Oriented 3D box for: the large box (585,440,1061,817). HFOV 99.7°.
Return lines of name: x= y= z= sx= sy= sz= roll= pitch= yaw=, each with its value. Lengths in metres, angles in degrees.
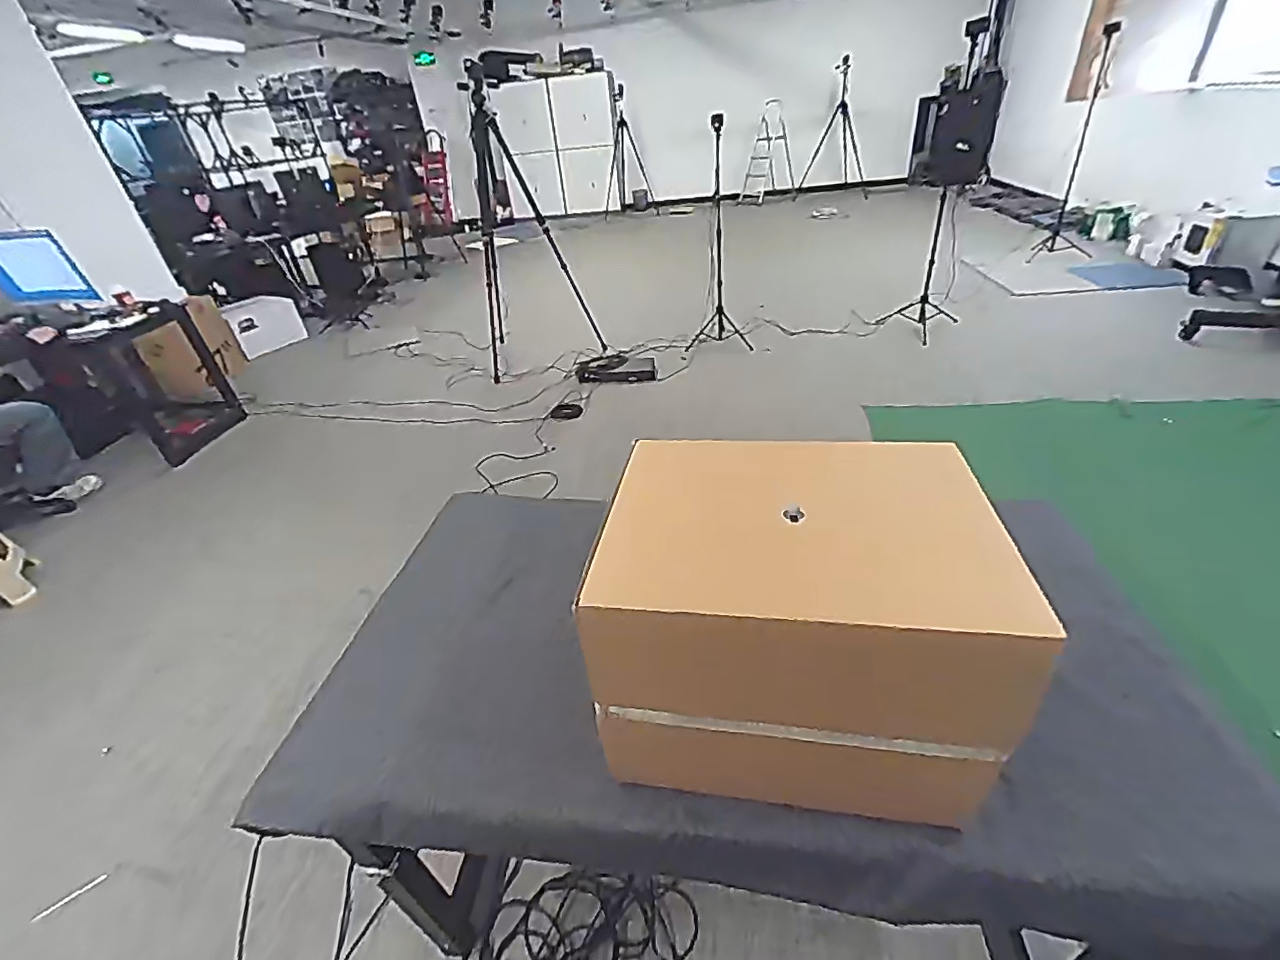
large box: x=0.178 y=0.161 z=0.664 sx=0.408 sy=0.320 sz=0.320 roll=1 pitch=34 yaw=10
